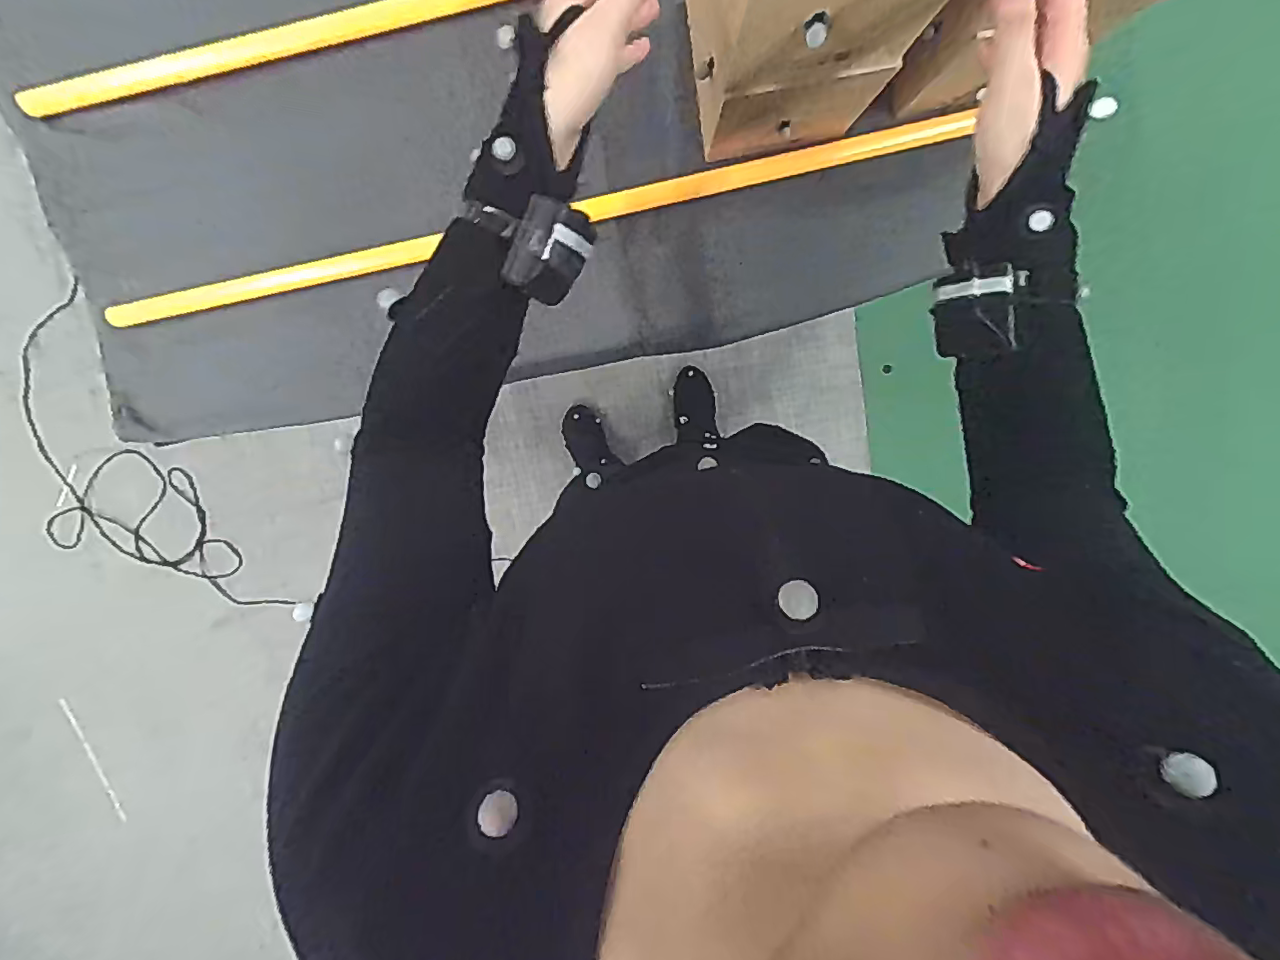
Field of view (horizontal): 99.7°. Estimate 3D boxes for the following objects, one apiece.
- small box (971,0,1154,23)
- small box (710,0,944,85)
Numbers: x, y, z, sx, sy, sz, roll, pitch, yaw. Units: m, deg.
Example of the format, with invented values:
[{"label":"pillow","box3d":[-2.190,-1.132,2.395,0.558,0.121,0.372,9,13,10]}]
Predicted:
[{"label":"small box","box3d":[0.365,-0.467,0.381,0.179,0.176,0.168,-7,103,1]},{"label":"small box","box3d":[0.141,-0.427,0.396,0.168,0.176,0.179,-8,102,3]}]
